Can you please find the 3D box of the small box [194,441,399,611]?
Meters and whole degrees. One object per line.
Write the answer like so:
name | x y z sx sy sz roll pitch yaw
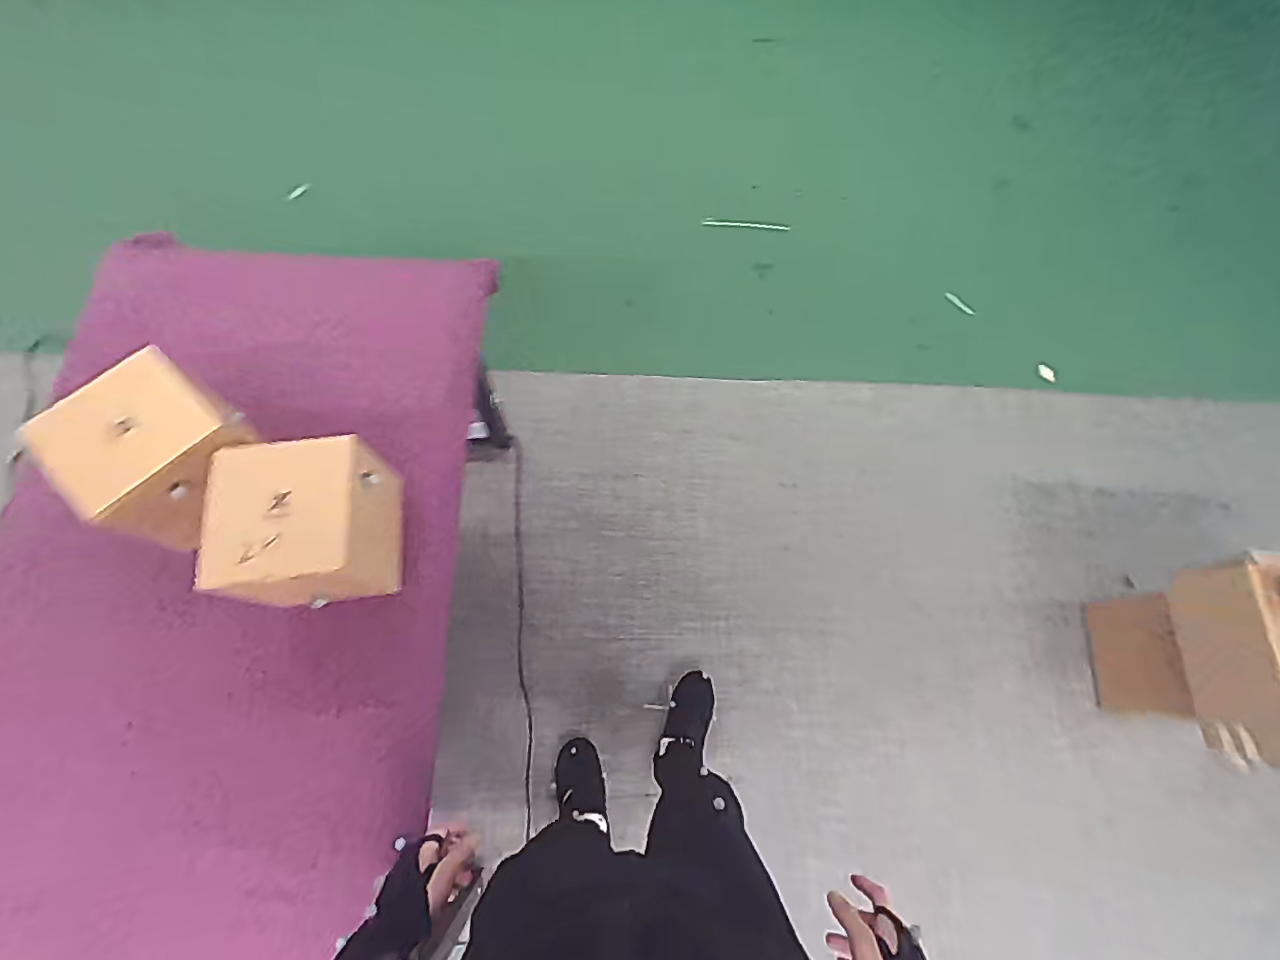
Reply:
small box | -0.435 0.068 0.717 0.168 0.176 0.179 -7 71 -4

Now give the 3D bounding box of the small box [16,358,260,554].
small box | -0.649 -0.025 0.743 0.168 0.176 0.179 41 74 11
